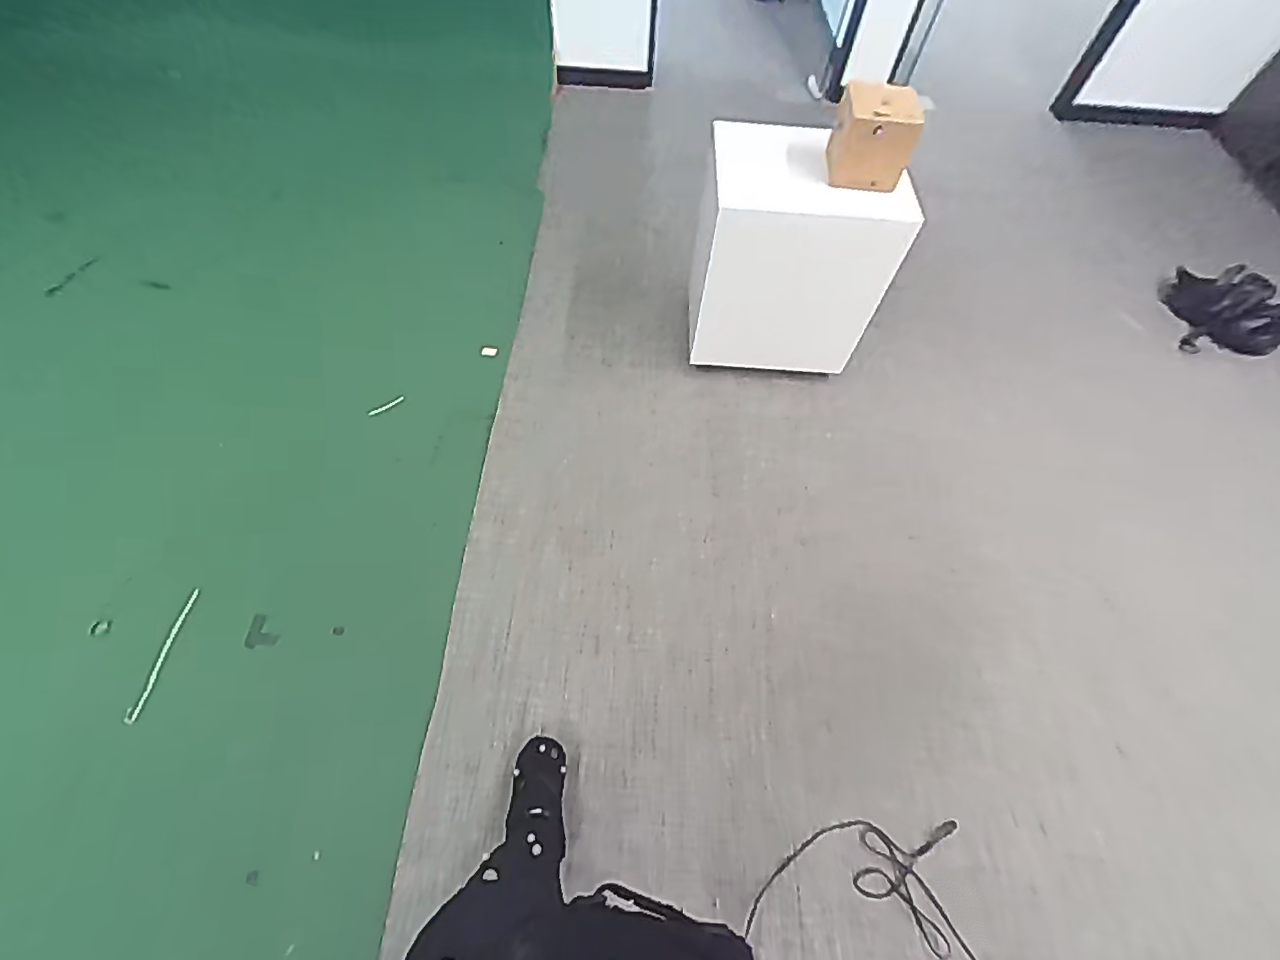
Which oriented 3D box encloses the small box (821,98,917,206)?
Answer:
[{"bbox_3d":[0.568,-0.827,1.368,0.168,0.176,0.179,6,58,2],"label":"small box"}]
